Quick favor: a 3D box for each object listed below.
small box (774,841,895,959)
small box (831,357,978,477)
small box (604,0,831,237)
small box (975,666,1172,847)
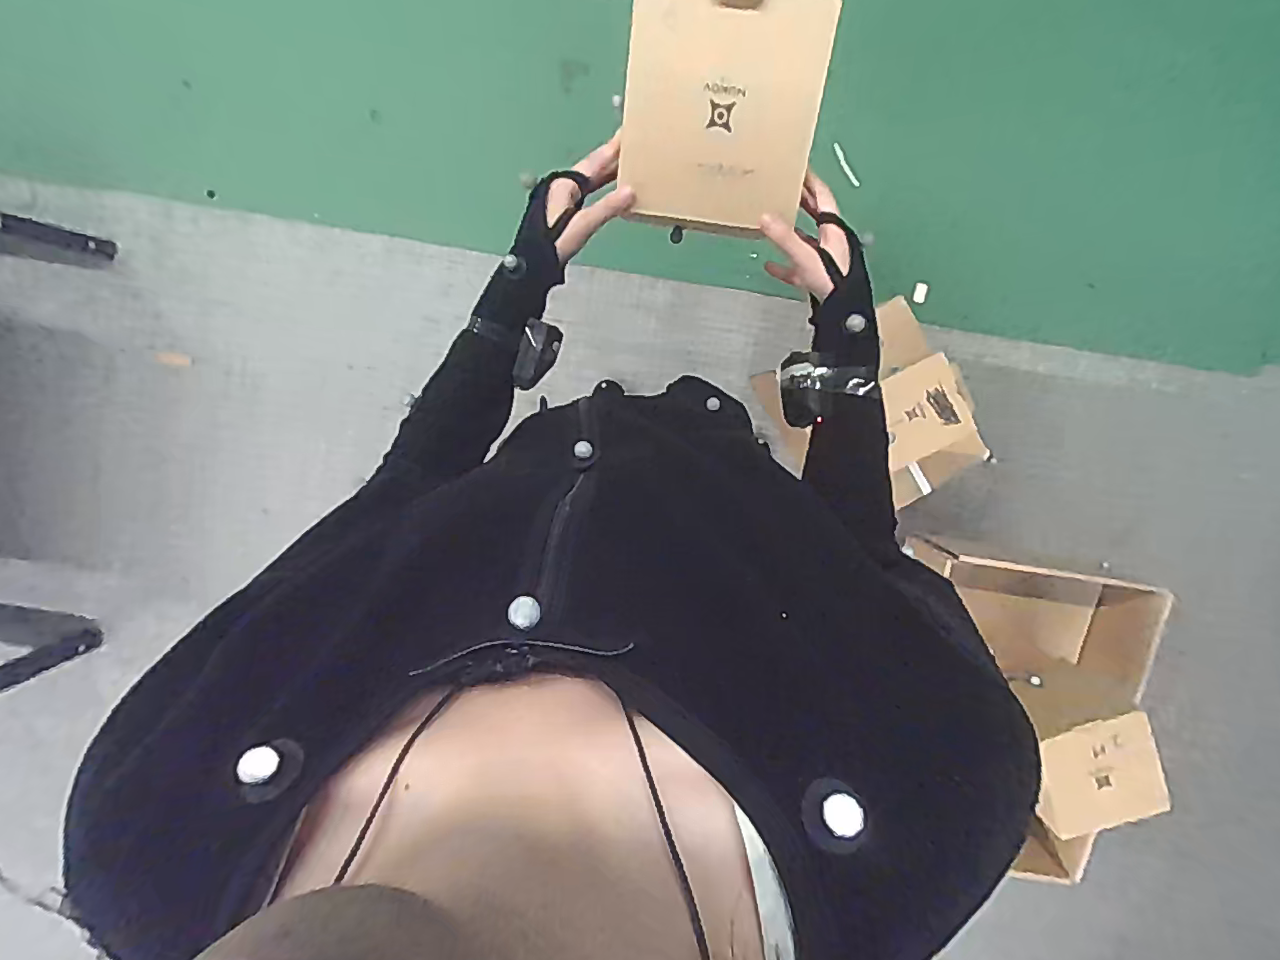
[{"bbox_3d":[0.437,0.987,1.242,0.179,0.176,0.168,44,98,-6],"label":"small box"},{"bbox_3d":[0.506,-0.127,1.061,0.179,0.176,0.168,-27,97,6],"label":"small box"},{"bbox_3d":[0.059,-0.342,0.523,0.168,0.176,0.179,7,113,-2],"label":"small box"},{"bbox_3d":[0.683,0.434,0.871,0.168,0.176,0.179,-19,97,4],"label":"small box"}]
